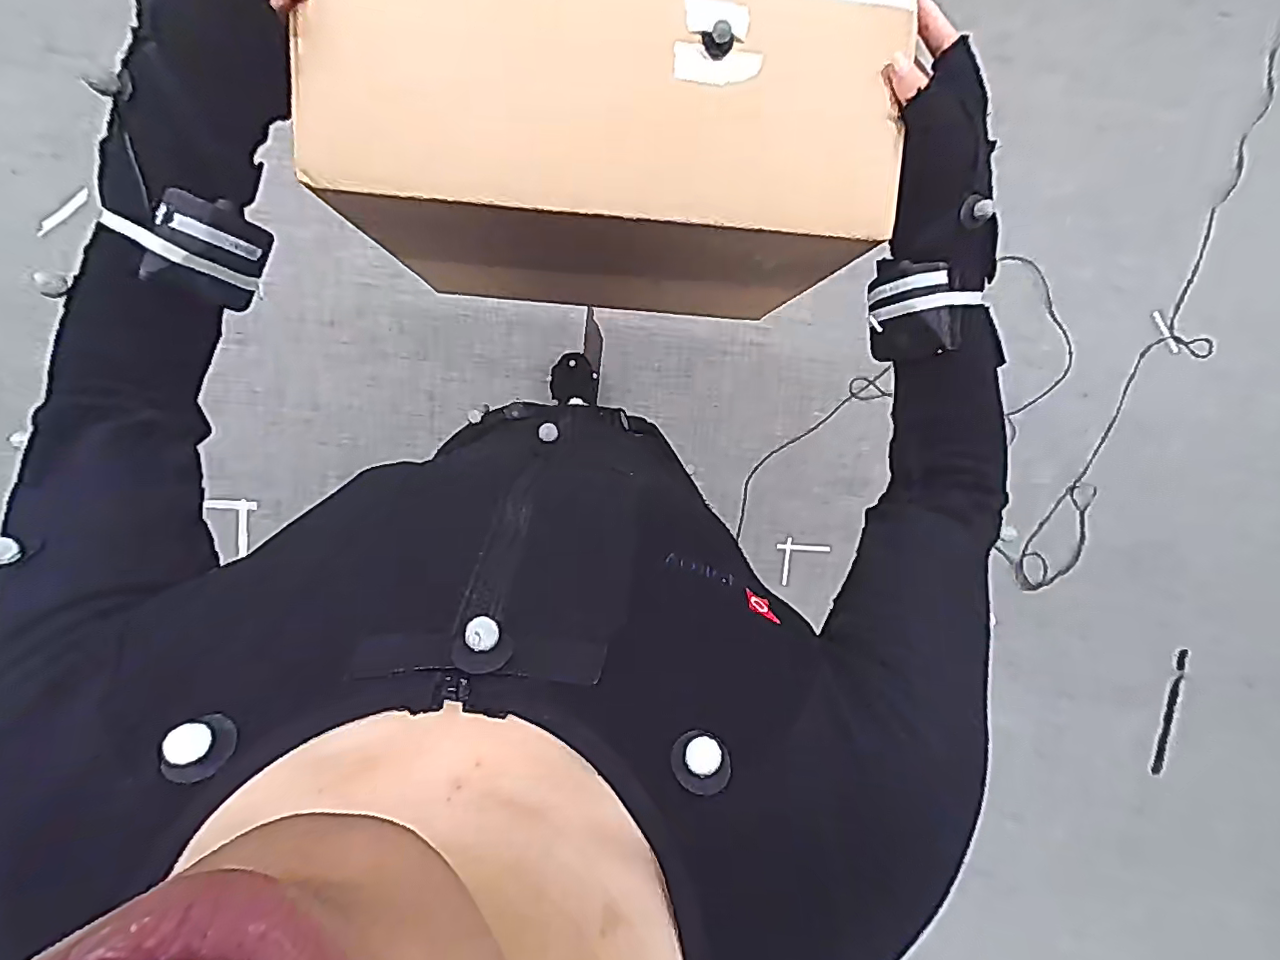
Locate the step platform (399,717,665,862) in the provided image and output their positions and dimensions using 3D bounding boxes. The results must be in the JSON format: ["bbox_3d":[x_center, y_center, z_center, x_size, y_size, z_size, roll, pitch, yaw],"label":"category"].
[{"bbox_3d":[-0.275,0.825,1.448,0.684,0.204,0.286,3,95,-3],"label":"step platform"}]

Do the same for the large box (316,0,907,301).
[{"bbox_3d":[-0.024,-0.367,0.508,0.408,0.320,0.320,2,97,-6],"label":"large box"}]
